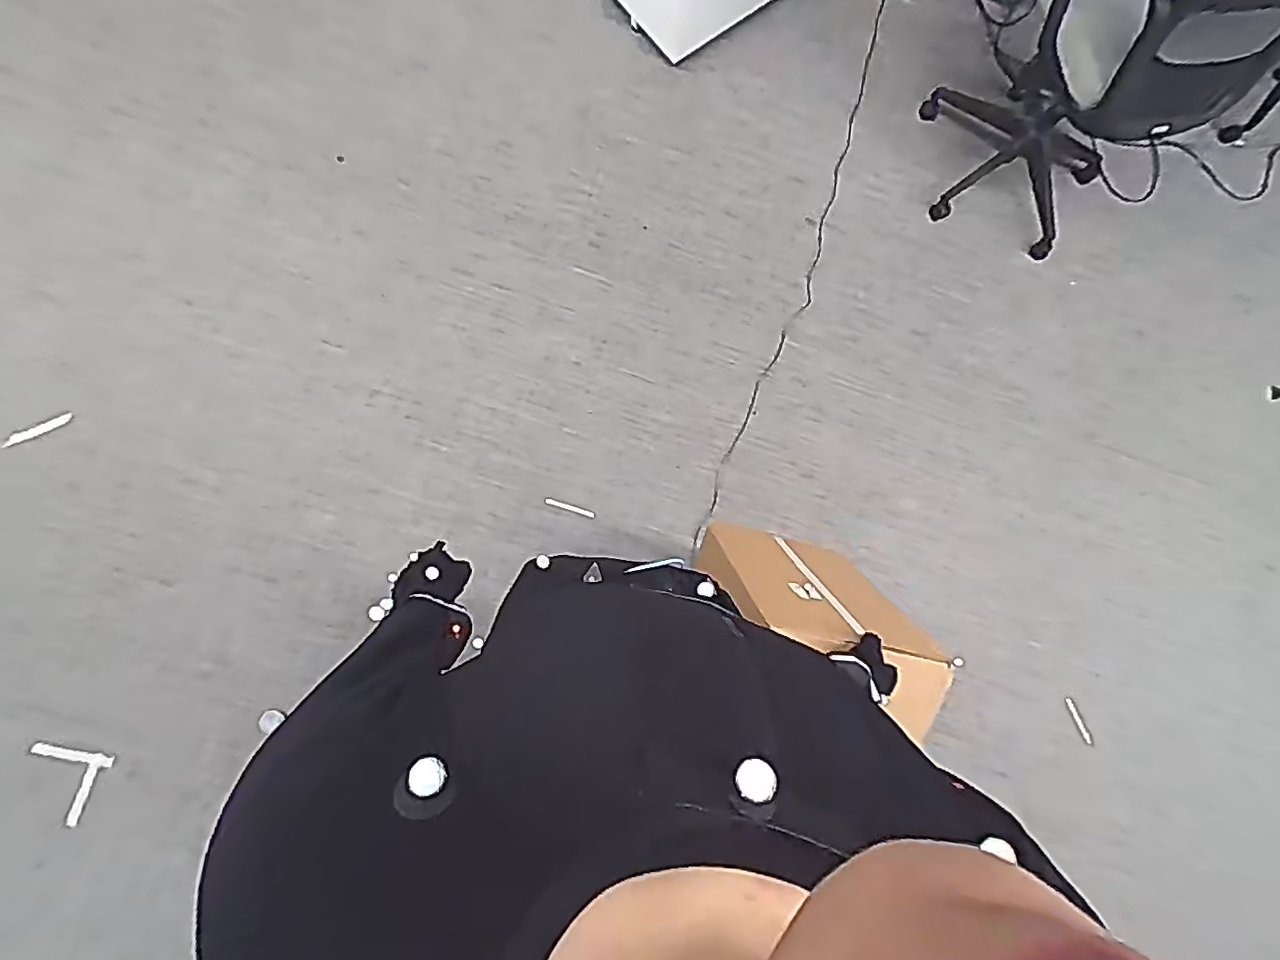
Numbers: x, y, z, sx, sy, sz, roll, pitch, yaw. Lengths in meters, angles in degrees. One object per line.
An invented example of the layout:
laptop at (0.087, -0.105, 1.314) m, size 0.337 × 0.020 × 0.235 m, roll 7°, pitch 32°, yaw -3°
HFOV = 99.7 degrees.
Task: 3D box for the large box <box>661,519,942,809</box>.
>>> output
large box at (0.252, 0.317, 1.020) m, size 0.320 × 0.408 × 0.320 m, roll 13°, pitch 106°, yaw -10°
